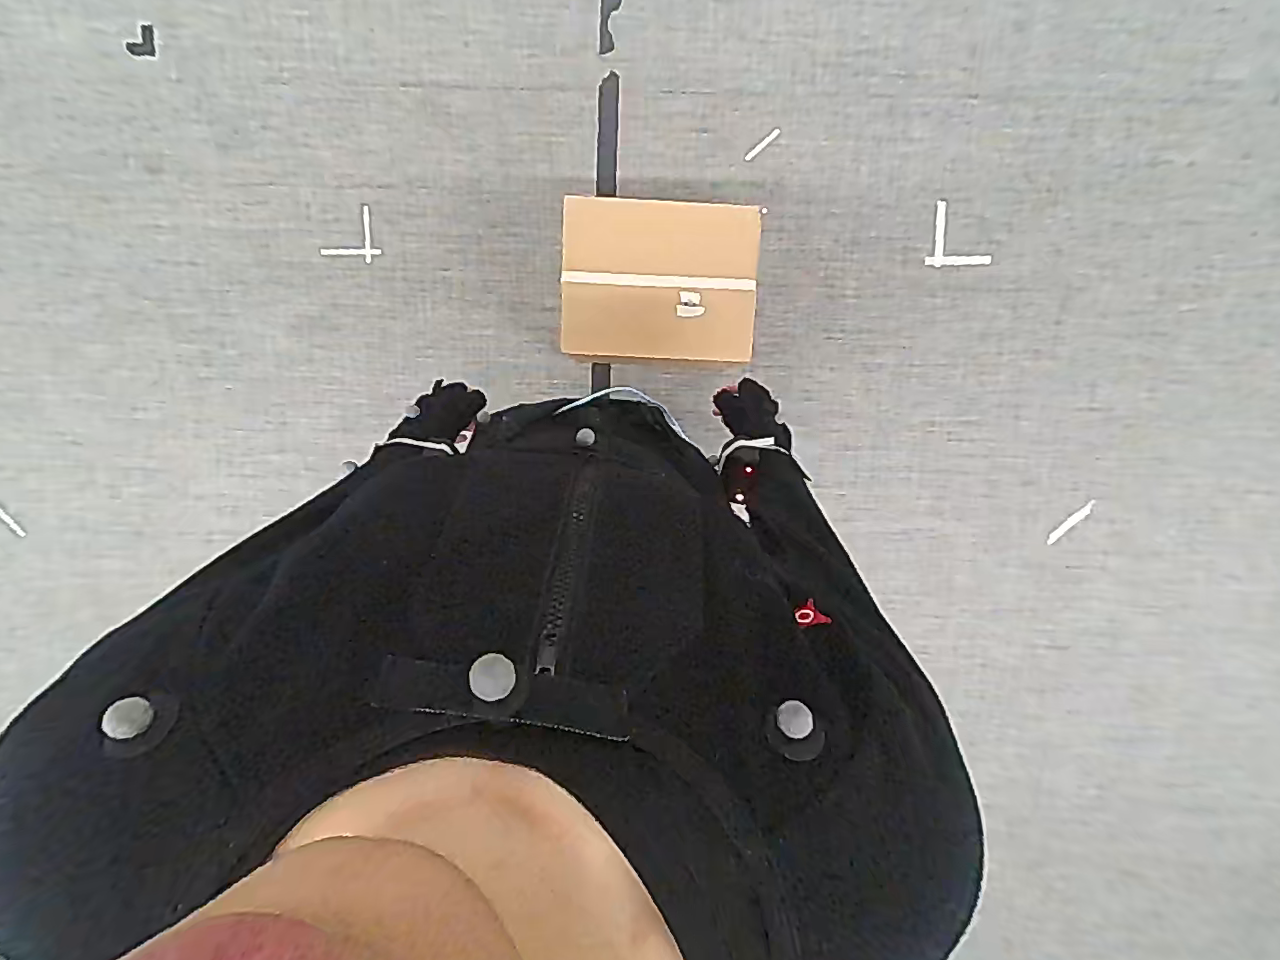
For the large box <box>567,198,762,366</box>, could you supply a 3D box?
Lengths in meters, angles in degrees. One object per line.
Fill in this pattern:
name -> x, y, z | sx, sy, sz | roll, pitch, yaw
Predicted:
large box -> 0.043, -0.440, 1.278 | 0.408, 0.320, 0.320 | 3, 100, -2
